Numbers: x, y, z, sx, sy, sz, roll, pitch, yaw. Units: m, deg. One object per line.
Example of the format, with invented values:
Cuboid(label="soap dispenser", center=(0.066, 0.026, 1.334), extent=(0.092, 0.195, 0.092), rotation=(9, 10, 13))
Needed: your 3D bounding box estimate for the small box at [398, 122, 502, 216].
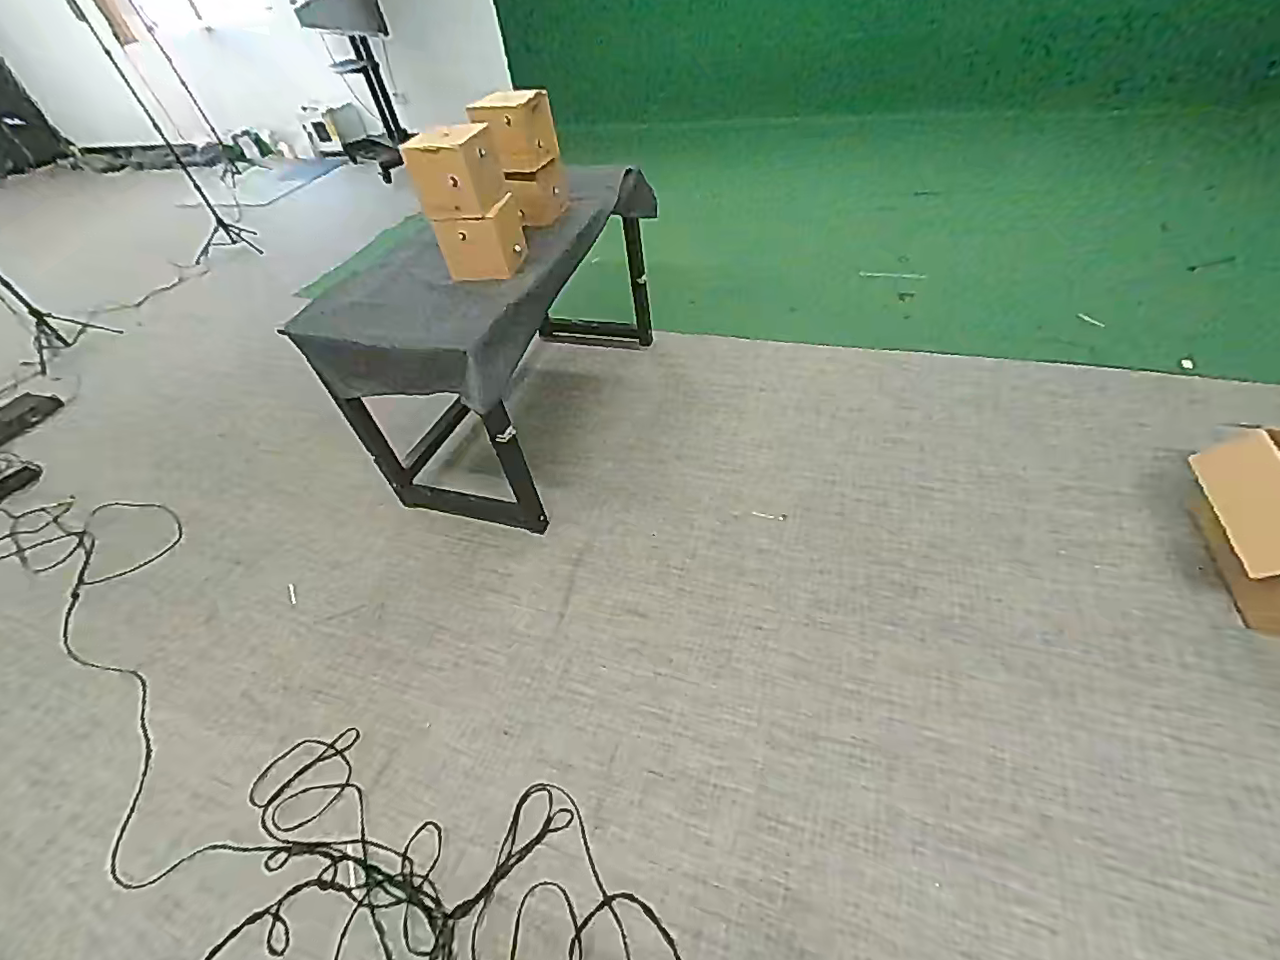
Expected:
Cuboid(label="small box", center=(-0.470, -0.786, 1.375), extent=(0.168, 0.176, 0.179), rotation=(6, 47, 12))

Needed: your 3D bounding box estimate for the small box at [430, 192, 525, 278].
Cuboid(label="small box", center=(-0.438, -0.670, 1.485), extent=(0.179, 0.176, 0.168), rotation=(2, 47, 10))

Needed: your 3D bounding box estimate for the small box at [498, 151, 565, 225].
Cuboid(label="small box", center=(-0.359, -0.930, 1.720), extent=(0.179, 0.176, 0.168), rotation=(11, 50, 17))

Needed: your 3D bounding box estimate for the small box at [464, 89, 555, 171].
Cuboid(label="small box", center=(-0.374, -1.022, 1.583), extent=(0.179, 0.176, 0.168), rotation=(13, 50, 20))
